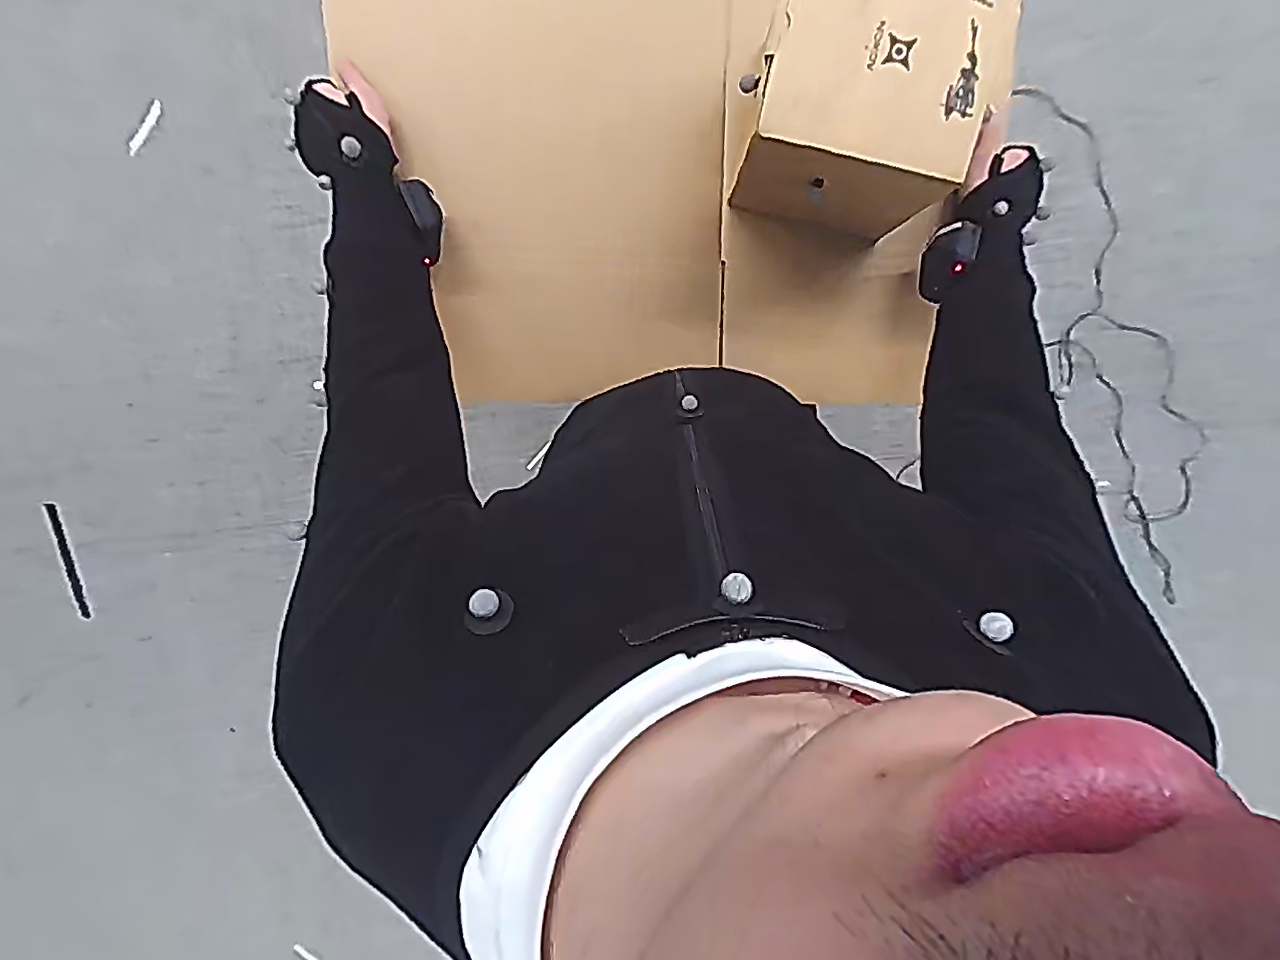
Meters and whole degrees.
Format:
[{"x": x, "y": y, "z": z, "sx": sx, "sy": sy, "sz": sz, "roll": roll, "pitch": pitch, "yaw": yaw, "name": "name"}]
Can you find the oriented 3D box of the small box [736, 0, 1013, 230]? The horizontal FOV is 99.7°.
[{"x": 0.198, "y": -0.354, "z": 0.506, "sx": 0.179, "sy": 0.176, "sz": 0.168, "roll": 13, "pitch": 100, "yaw": 1, "name": "small box"}]
